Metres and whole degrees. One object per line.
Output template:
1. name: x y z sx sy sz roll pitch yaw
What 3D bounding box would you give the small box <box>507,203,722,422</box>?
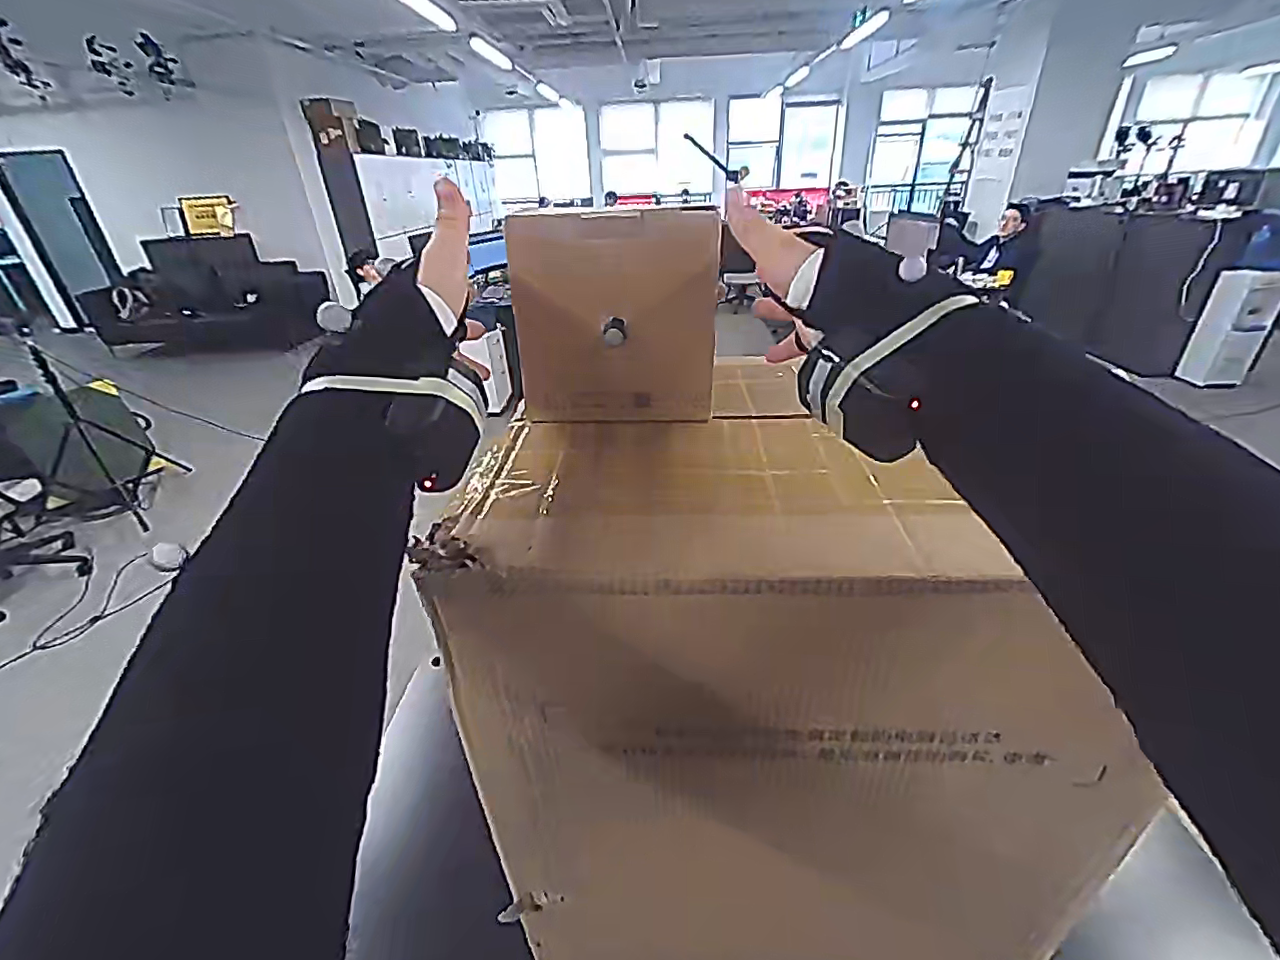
1. small box: -0.012 -0.160 0.508 0.168 0.176 0.179 0 28 3
